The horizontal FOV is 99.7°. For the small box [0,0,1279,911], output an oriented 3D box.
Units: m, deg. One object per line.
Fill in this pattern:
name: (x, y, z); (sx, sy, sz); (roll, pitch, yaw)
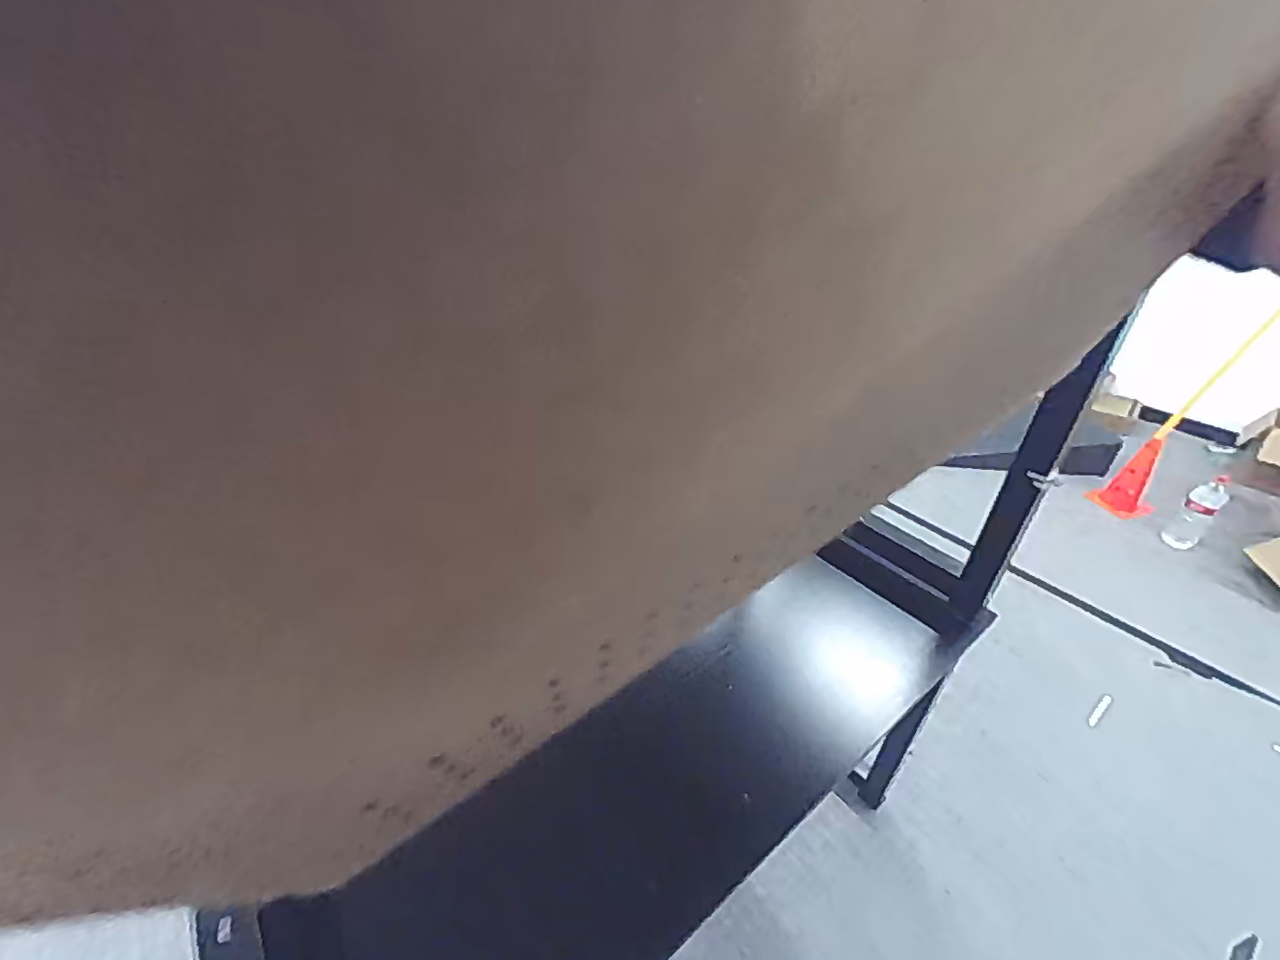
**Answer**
small box: (-0.006, -0.088, 0.067); (0.179, 0.176, 0.168); (-28, 61, -21)
